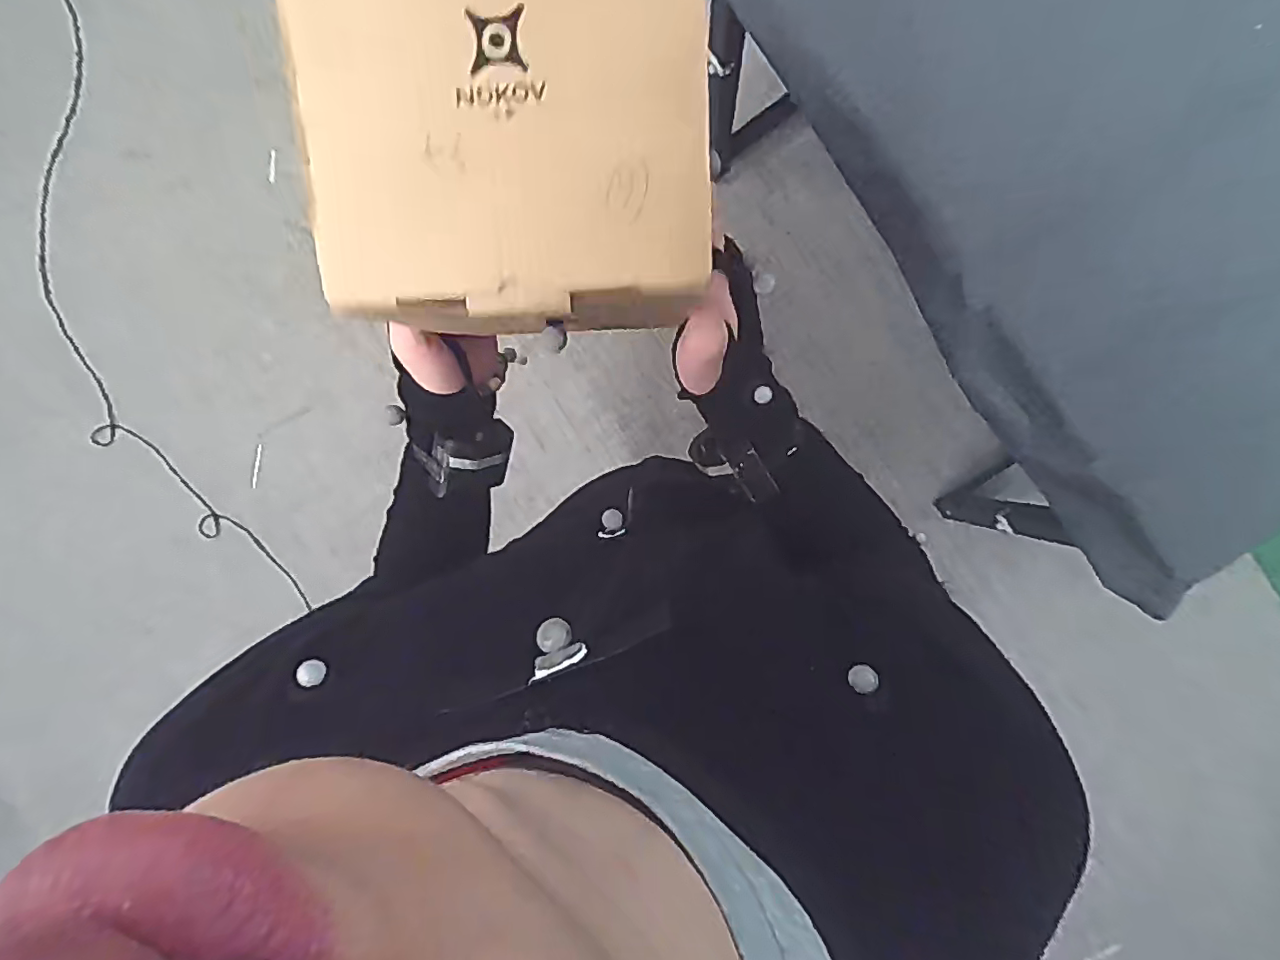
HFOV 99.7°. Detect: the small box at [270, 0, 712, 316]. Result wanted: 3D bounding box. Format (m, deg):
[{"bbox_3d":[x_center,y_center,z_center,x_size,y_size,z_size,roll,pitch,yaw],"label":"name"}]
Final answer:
[{"bbox_3d":[-0.055,-0.181,0.282,0.168,0.176,0.179,-3,101,-1],"label":"small box"}]
